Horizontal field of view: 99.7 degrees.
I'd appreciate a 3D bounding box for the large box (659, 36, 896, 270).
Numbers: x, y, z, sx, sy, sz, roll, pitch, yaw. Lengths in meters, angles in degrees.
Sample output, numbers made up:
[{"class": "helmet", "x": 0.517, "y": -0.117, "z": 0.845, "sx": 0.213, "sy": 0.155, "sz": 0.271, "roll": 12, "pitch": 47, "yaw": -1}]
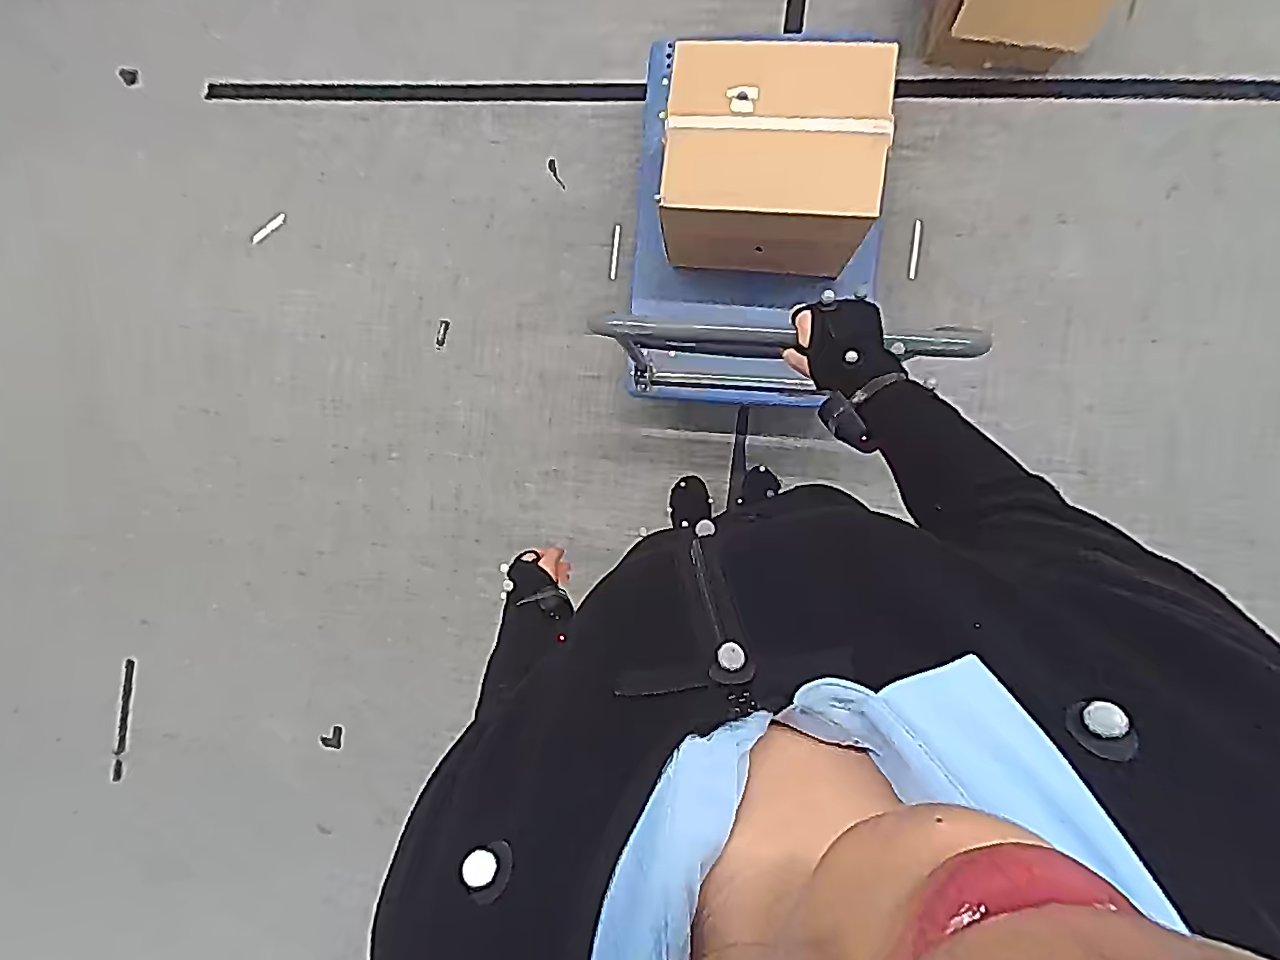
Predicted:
[{"class": "large box", "x": 0.268, "y": -0.651, "z": 1.131, "sx": 0.408, "sy": 0.320, "sz": 0.320, "roll": 6, "pitch": 91, "yaw": 8}]
